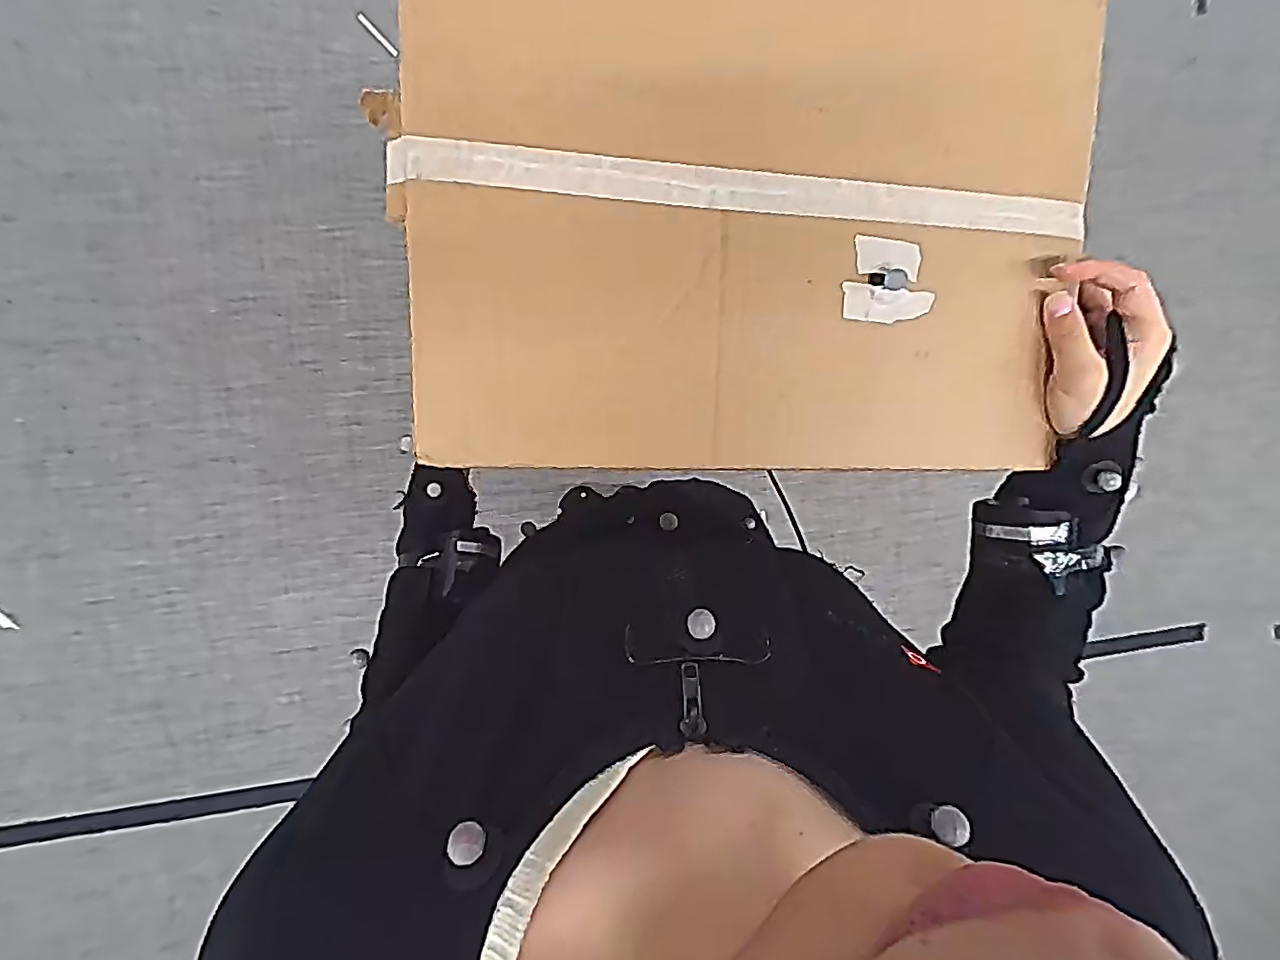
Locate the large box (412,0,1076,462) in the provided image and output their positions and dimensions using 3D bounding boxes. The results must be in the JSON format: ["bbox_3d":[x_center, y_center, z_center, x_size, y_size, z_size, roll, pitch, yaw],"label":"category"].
[{"bbox_3d":[0.049,-0.184,0.462,0.408,0.320,0.320,0,98,-12],"label":"large box"}]
